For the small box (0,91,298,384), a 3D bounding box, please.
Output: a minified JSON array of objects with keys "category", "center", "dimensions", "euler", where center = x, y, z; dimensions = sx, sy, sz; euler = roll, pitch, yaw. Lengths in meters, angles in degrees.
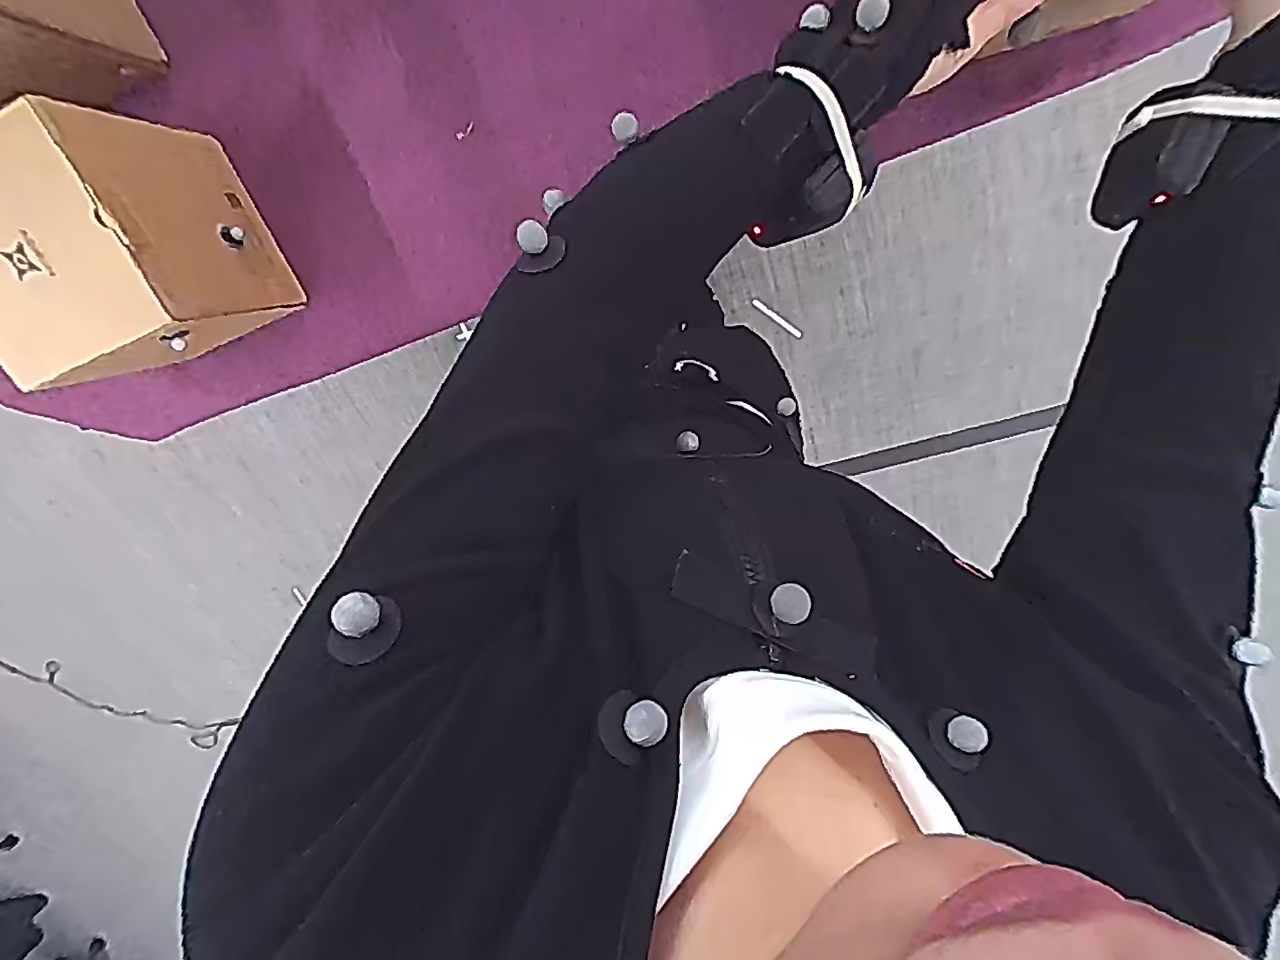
[{"category":"small box","center":[-0.471,-0.206,0.495],"dimensions":[0.179,0.176,0.168],"euler":[-19,110,12]}]
